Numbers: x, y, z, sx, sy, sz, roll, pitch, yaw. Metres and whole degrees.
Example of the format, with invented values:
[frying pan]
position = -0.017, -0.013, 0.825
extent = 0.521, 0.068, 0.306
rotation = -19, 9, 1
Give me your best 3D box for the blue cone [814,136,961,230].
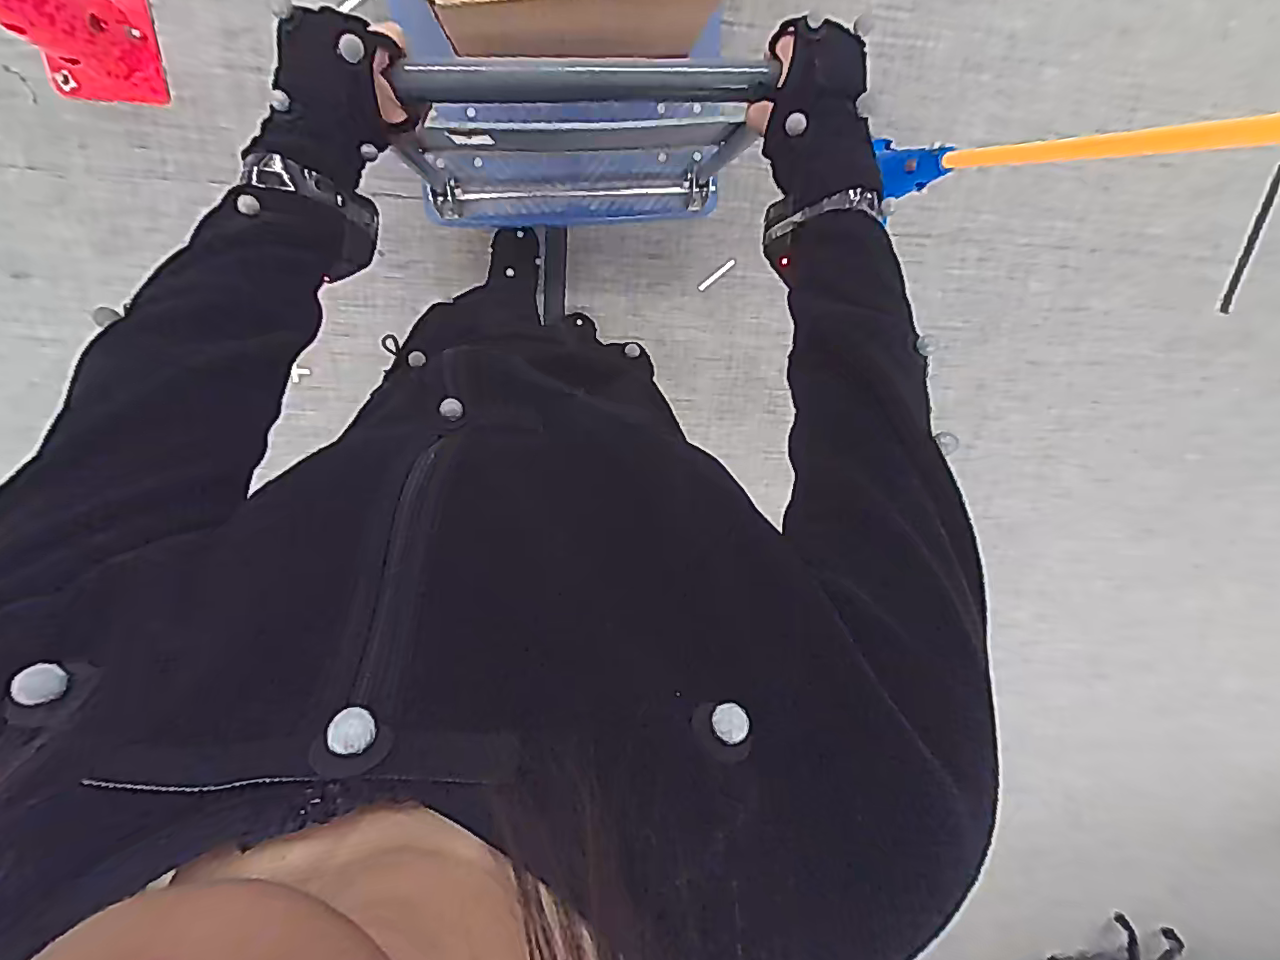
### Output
[blue cone]
position = 0.523, -0.636, 1.119
extent = 0.193, 0.380, 0.192
rotation = -3, 111, -7
